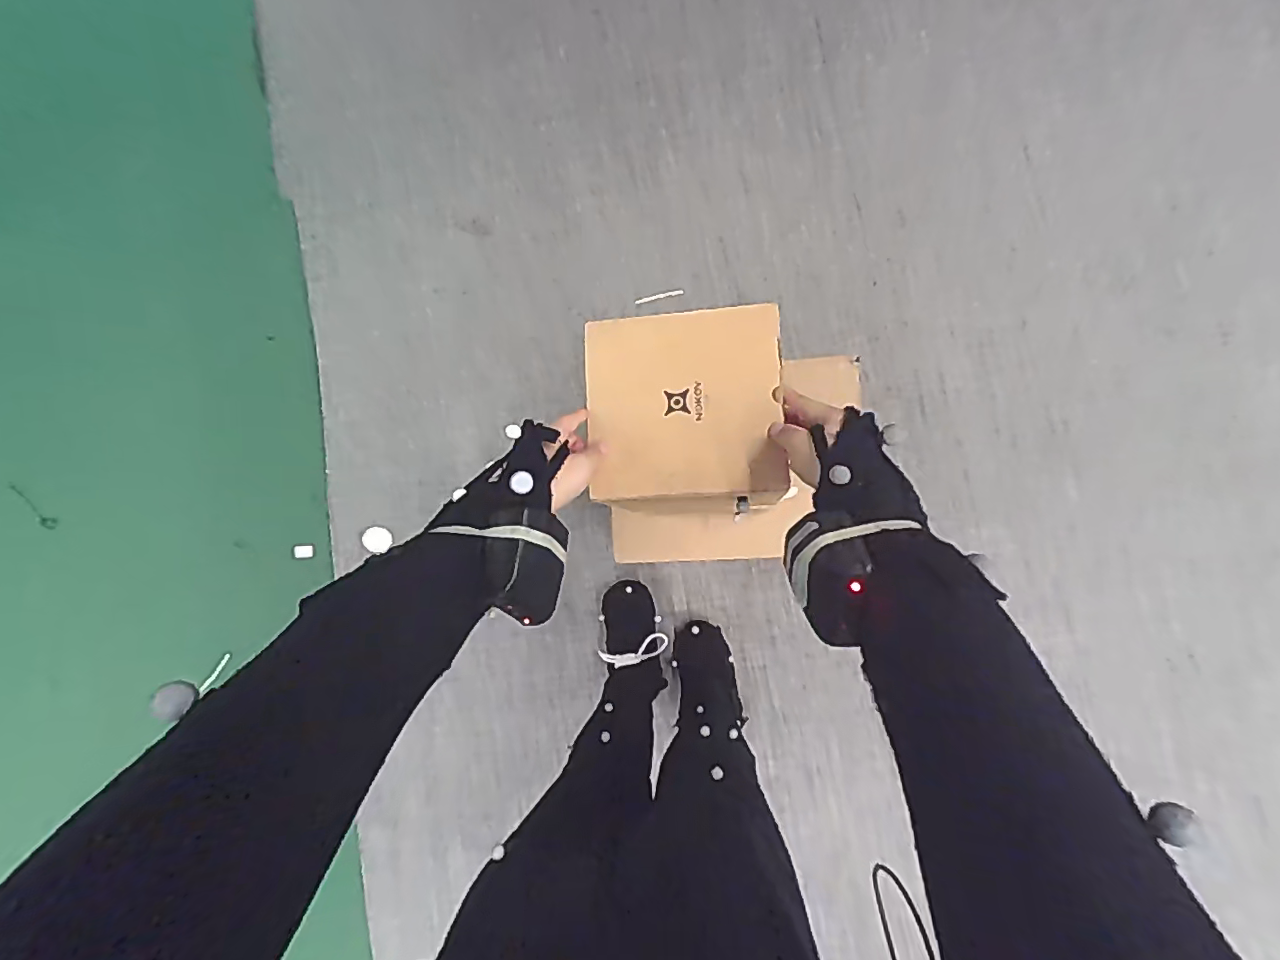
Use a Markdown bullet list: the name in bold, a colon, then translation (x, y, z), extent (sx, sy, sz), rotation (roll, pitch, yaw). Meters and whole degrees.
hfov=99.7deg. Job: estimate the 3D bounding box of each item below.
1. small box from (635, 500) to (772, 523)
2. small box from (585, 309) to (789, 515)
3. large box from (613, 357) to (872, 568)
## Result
- **small box**: translation (0.089, -0.026, 0.773), extent (0.179, 0.176, 0.168), rotation (-3, 82, 10)
- **small box**: translation (0.051, -0.054, 0.554), extent (0.179, 0.176, 0.168), rotation (-4, 83, 9)
- **large box**: translation (0.167, -0.012, 1.007), extent (0.408, 0.320, 0.320), rotation (-4, 85, 8)
